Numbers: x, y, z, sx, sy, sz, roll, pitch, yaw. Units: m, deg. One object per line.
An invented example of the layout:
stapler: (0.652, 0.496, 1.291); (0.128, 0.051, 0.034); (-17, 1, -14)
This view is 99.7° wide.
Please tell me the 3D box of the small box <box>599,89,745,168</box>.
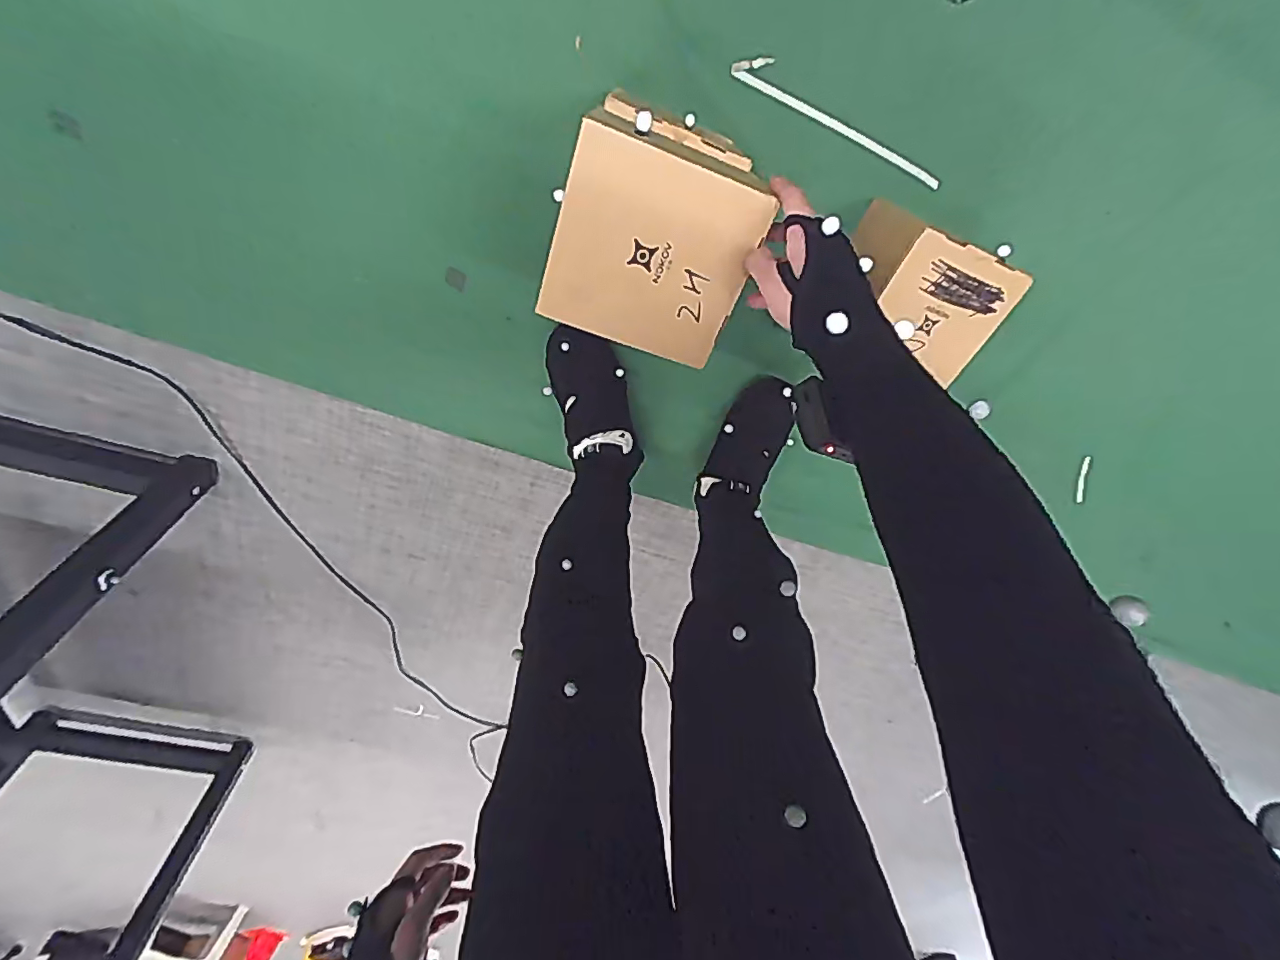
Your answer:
small box: (0.010, -0.351, 0.669); (0.168, 0.176, 0.179); (17, 125, -12)

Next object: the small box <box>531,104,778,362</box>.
small box: (0.007, -0.249, 0.541); (0.179, 0.176, 0.168); (16, 126, -13)
